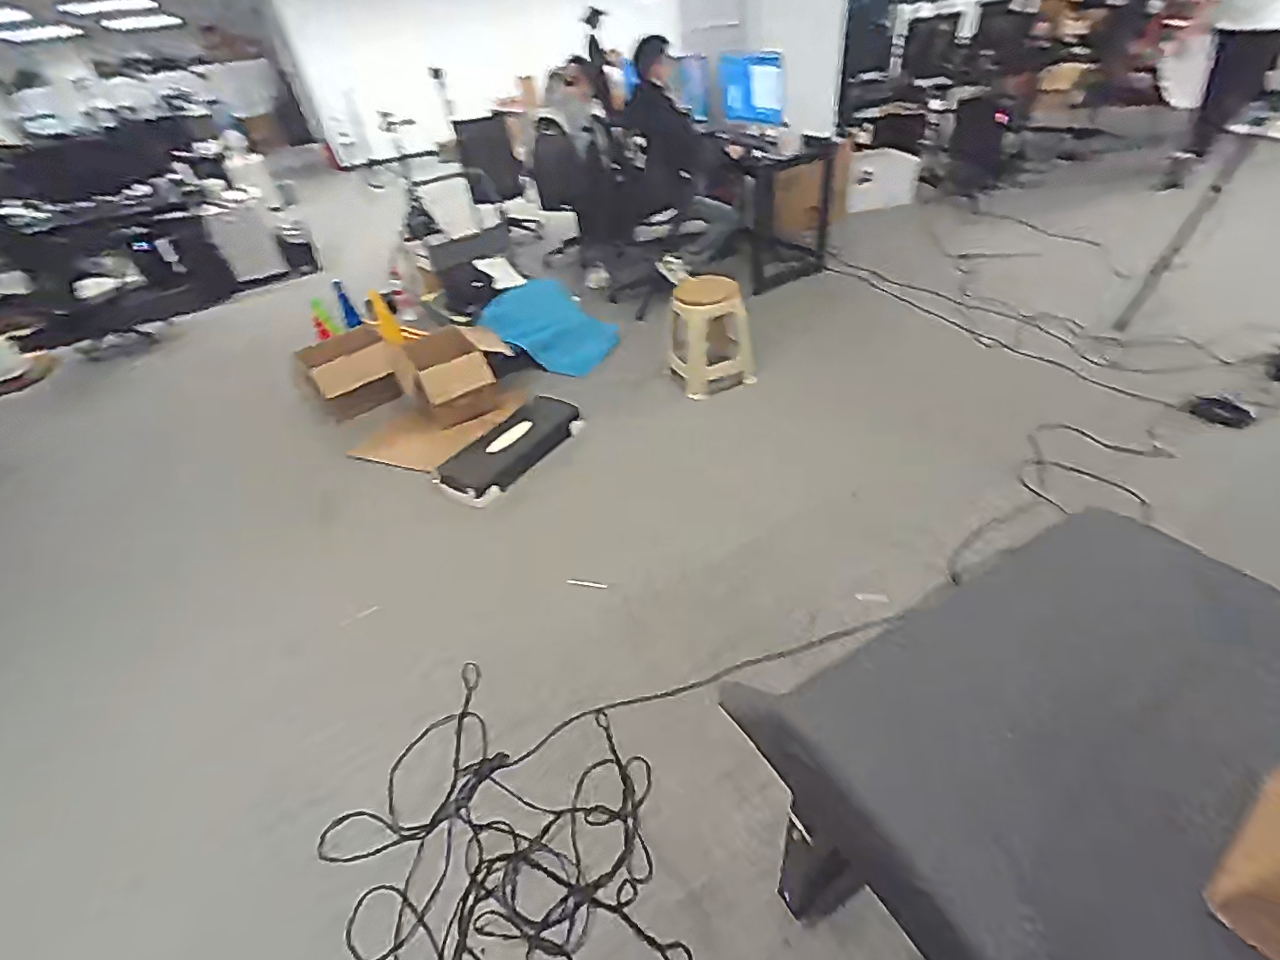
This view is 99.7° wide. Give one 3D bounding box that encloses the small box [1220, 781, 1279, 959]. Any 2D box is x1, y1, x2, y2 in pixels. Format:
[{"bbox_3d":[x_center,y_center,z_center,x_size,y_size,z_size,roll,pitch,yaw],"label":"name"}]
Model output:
[{"bbox_3d":[0.608,0.319,0.406,0.179,0.176,0.168,-30,45,-24],"label":"small box"}]
